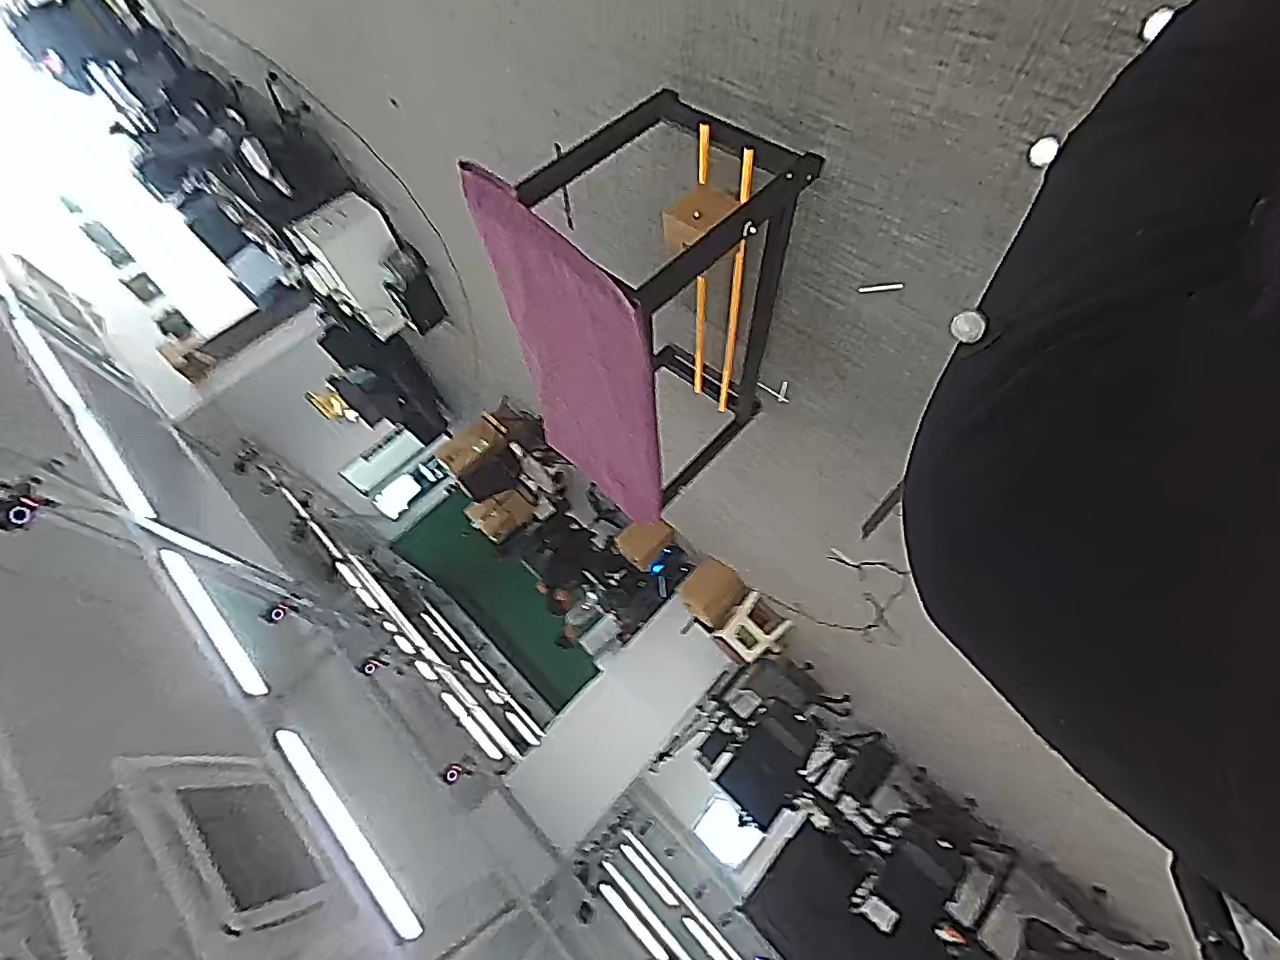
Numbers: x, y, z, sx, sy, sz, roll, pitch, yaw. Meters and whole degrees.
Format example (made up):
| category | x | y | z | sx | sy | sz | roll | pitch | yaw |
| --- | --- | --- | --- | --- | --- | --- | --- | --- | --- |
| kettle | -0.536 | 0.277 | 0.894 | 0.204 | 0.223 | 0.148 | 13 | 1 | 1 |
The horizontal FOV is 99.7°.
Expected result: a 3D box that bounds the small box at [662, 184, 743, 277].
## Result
| category | x | y | z | sx | sy | sz | roll | pitch | yaw |
| --- | --- | --- | --- | --- | --- | --- | --- | --- | --- |
| small box | 0.186 | -0.759 | 1.635 | 0.179 | 0.176 | 0.168 | 37 | 162 | 21 |
